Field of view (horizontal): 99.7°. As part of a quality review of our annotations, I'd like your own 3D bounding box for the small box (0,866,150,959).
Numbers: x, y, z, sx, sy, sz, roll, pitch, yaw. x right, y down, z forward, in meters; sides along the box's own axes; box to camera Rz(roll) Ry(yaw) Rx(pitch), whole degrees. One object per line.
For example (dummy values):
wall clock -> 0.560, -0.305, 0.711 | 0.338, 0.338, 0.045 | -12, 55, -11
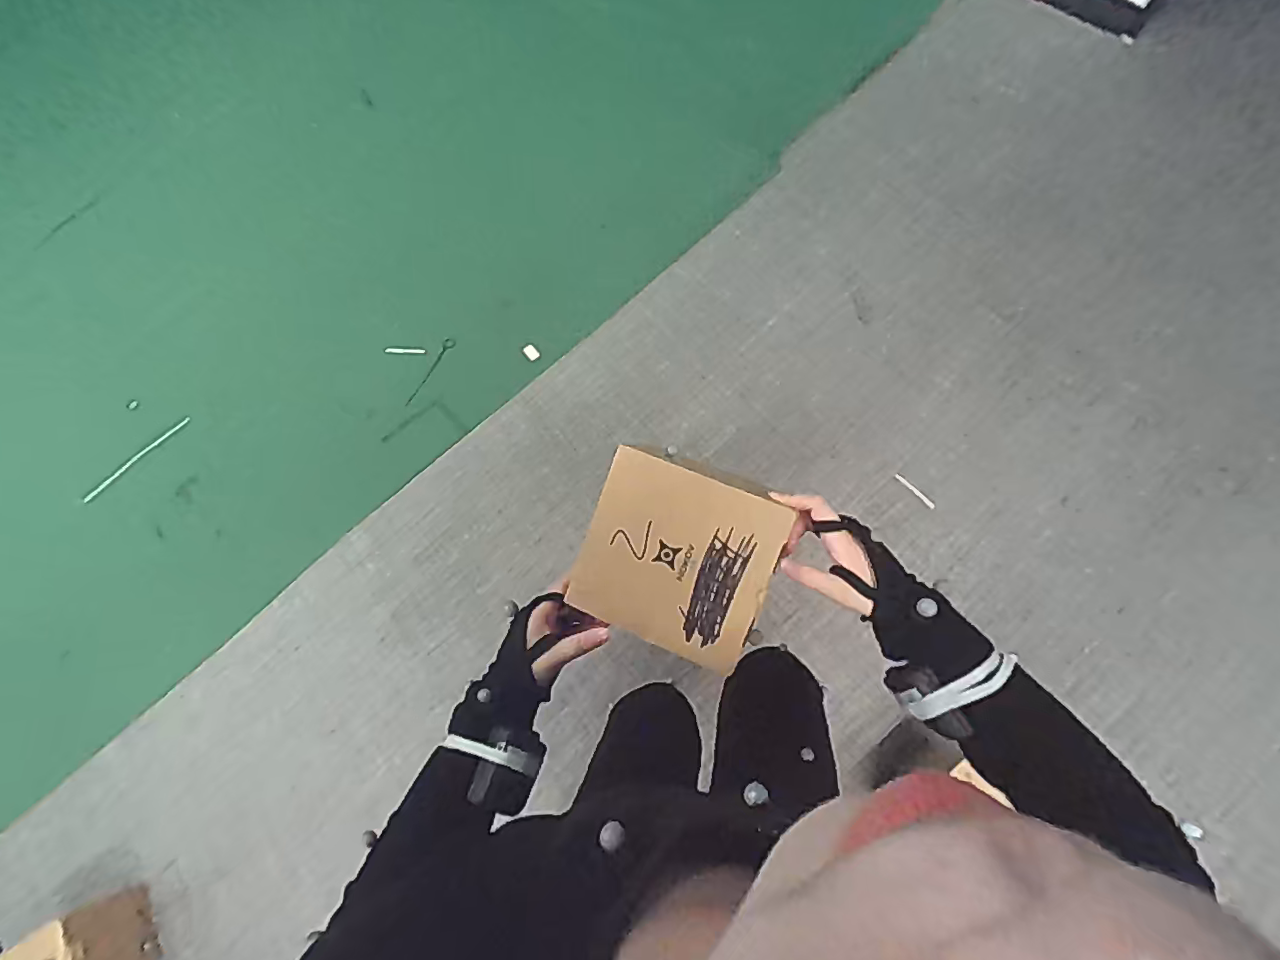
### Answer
small box -> -1.190, 0.966, 1.140 | 0.179, 0.176, 0.168 | -33, 72, -2
